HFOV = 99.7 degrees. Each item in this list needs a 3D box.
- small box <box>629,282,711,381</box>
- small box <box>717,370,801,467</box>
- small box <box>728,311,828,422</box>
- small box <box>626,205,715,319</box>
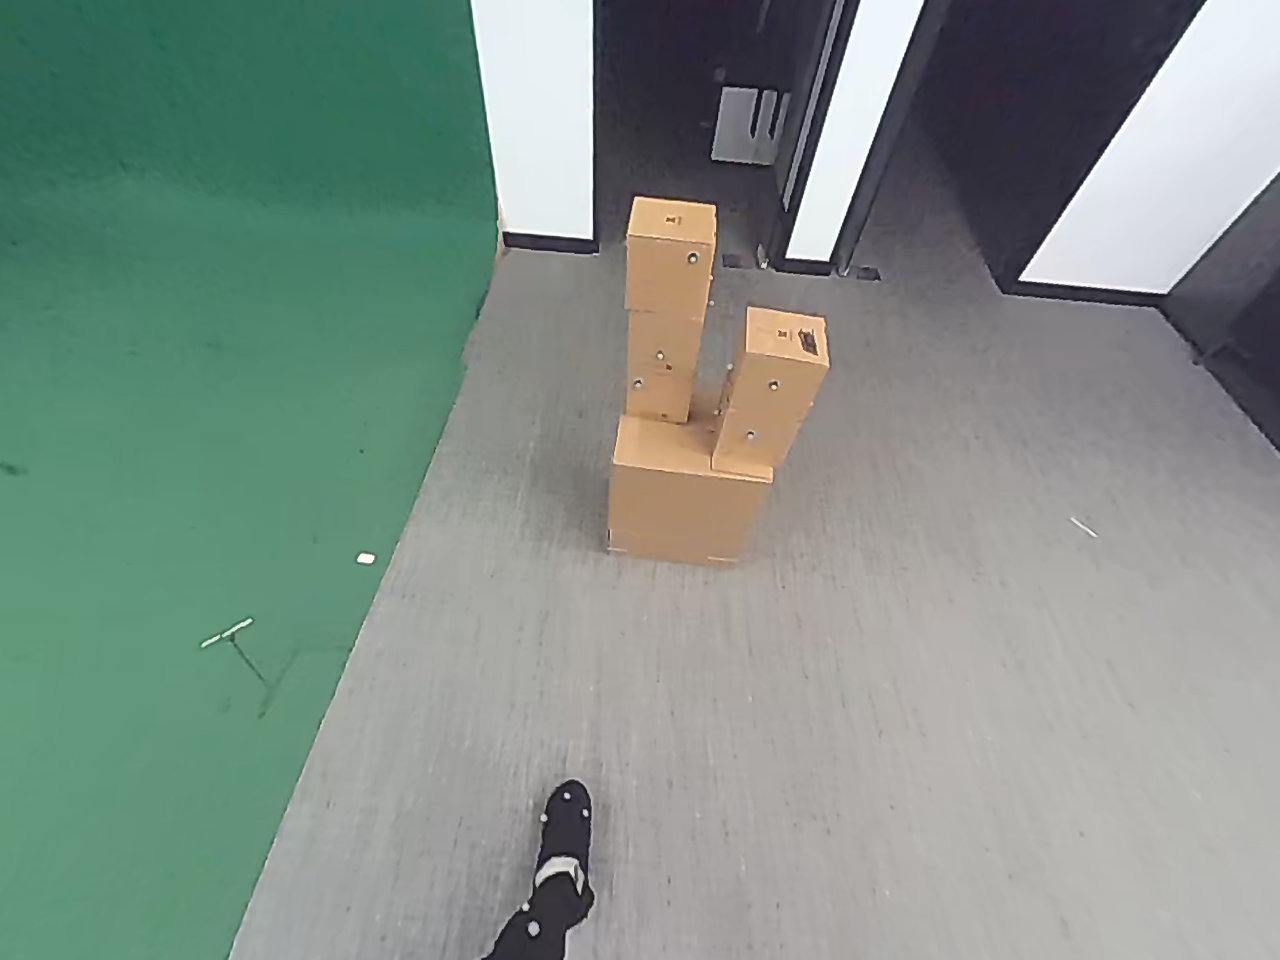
[{"bbox_3d":[0.069,-0.366,1.293,0.168,0.176,0.179,10,52,5],"label":"small box"},{"bbox_3d":[0.291,-0.149,1.345,0.179,0.176,0.168,8,54,2],"label":"small box"},{"bbox_3d":[0.306,-0.250,1.217,0.179,0.176,0.168,9,52,2],"label":"small box"},{"bbox_3d":[0.064,-0.466,1.163,0.179,0.176,0.168,6,52,1],"label":"small box"}]
